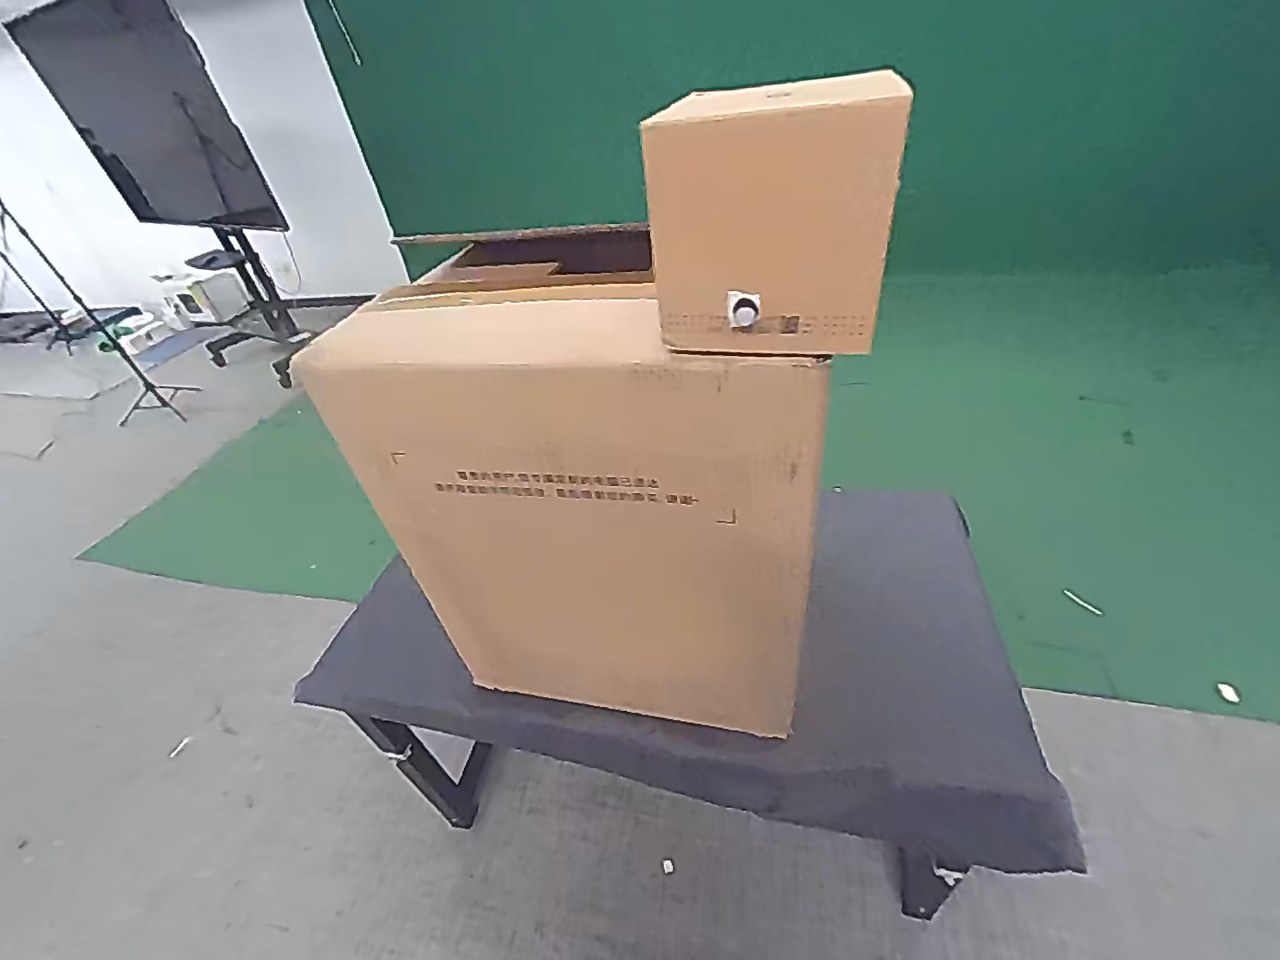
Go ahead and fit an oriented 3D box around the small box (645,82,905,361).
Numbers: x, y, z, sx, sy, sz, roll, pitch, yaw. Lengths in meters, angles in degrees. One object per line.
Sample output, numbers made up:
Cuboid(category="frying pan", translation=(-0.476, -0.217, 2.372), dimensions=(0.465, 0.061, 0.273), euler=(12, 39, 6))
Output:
Cuboid(category="small box", translation=(0.109, -0.215, 0.454), dimensions=(0.168, 0.176, 0.179), euler=(3, 41, 15))
